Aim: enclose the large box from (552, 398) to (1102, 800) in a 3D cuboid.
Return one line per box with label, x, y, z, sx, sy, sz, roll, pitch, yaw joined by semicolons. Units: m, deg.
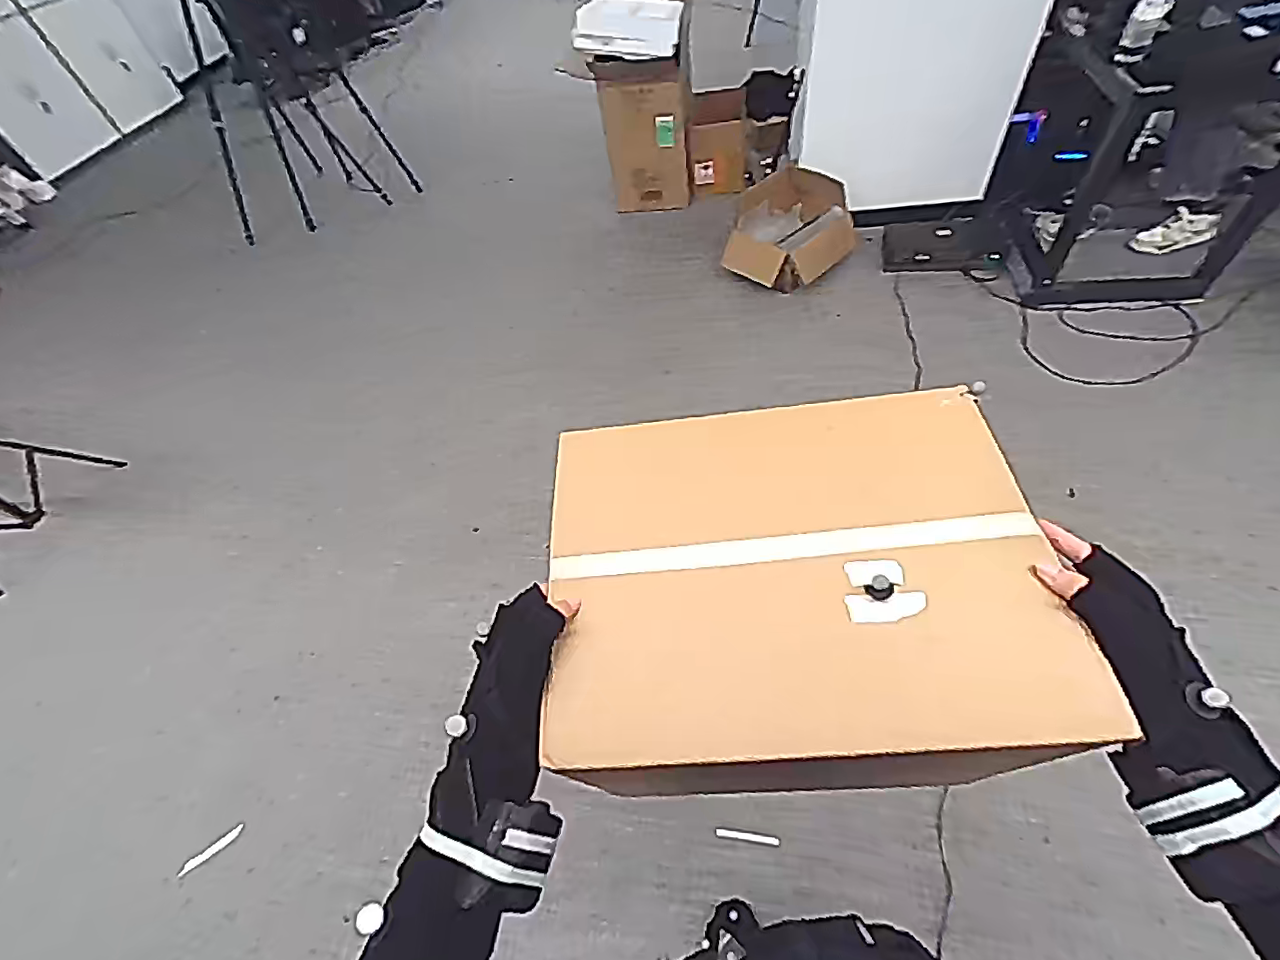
large box;0.140;0.150;0.596;0.408;0.320;0.320;-7;56;6
